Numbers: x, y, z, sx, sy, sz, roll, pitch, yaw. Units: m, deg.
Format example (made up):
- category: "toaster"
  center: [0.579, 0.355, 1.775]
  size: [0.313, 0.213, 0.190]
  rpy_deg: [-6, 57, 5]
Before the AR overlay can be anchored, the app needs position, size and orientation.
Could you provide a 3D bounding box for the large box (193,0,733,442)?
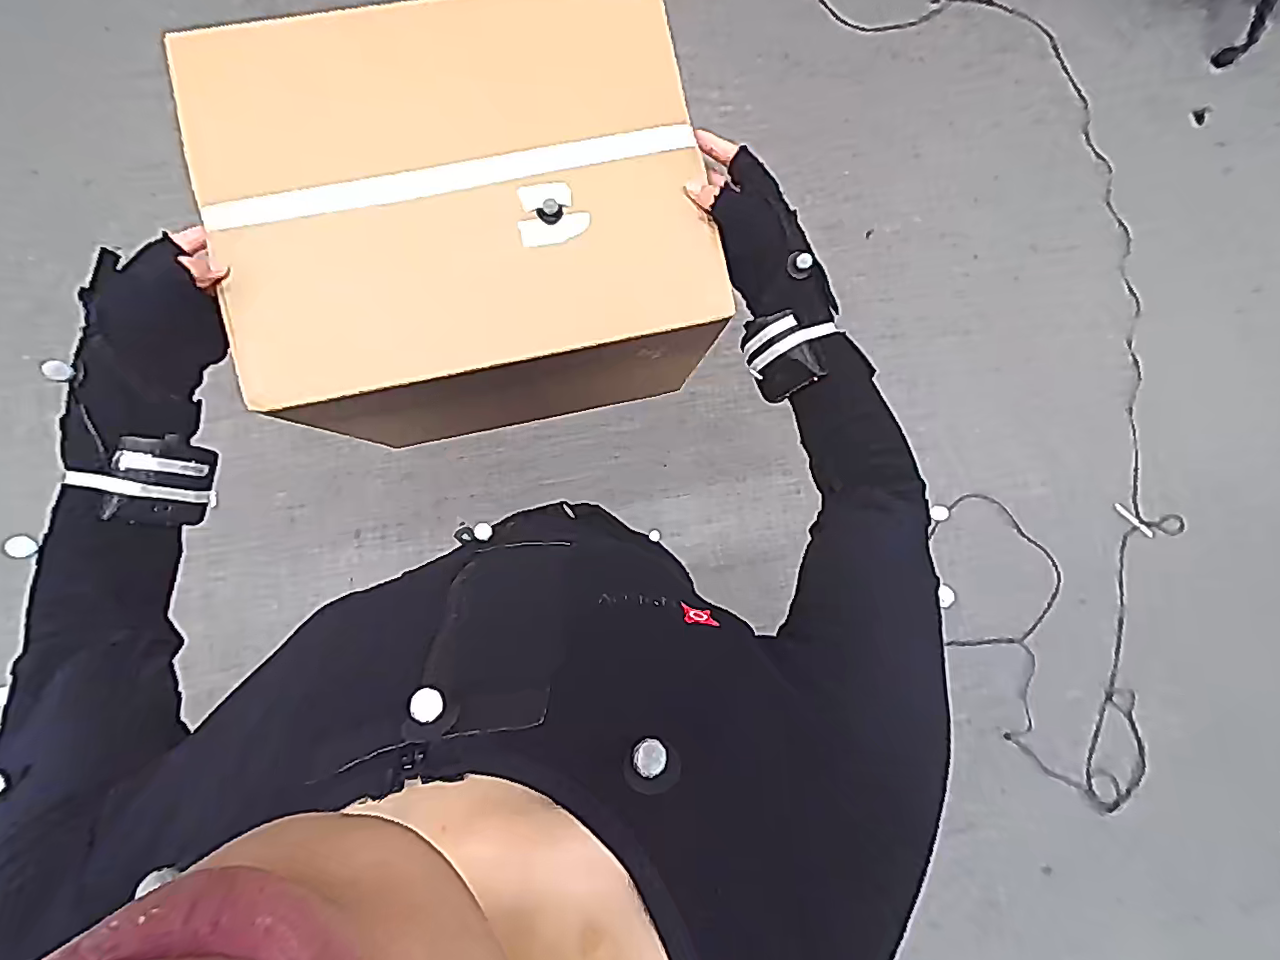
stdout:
- category: "large box"
  center: [-0.158, -0.250, 0.607]
  size: [0.408, 0.320, 0.320]
  rpy_deg: [-13, 90, -6]
